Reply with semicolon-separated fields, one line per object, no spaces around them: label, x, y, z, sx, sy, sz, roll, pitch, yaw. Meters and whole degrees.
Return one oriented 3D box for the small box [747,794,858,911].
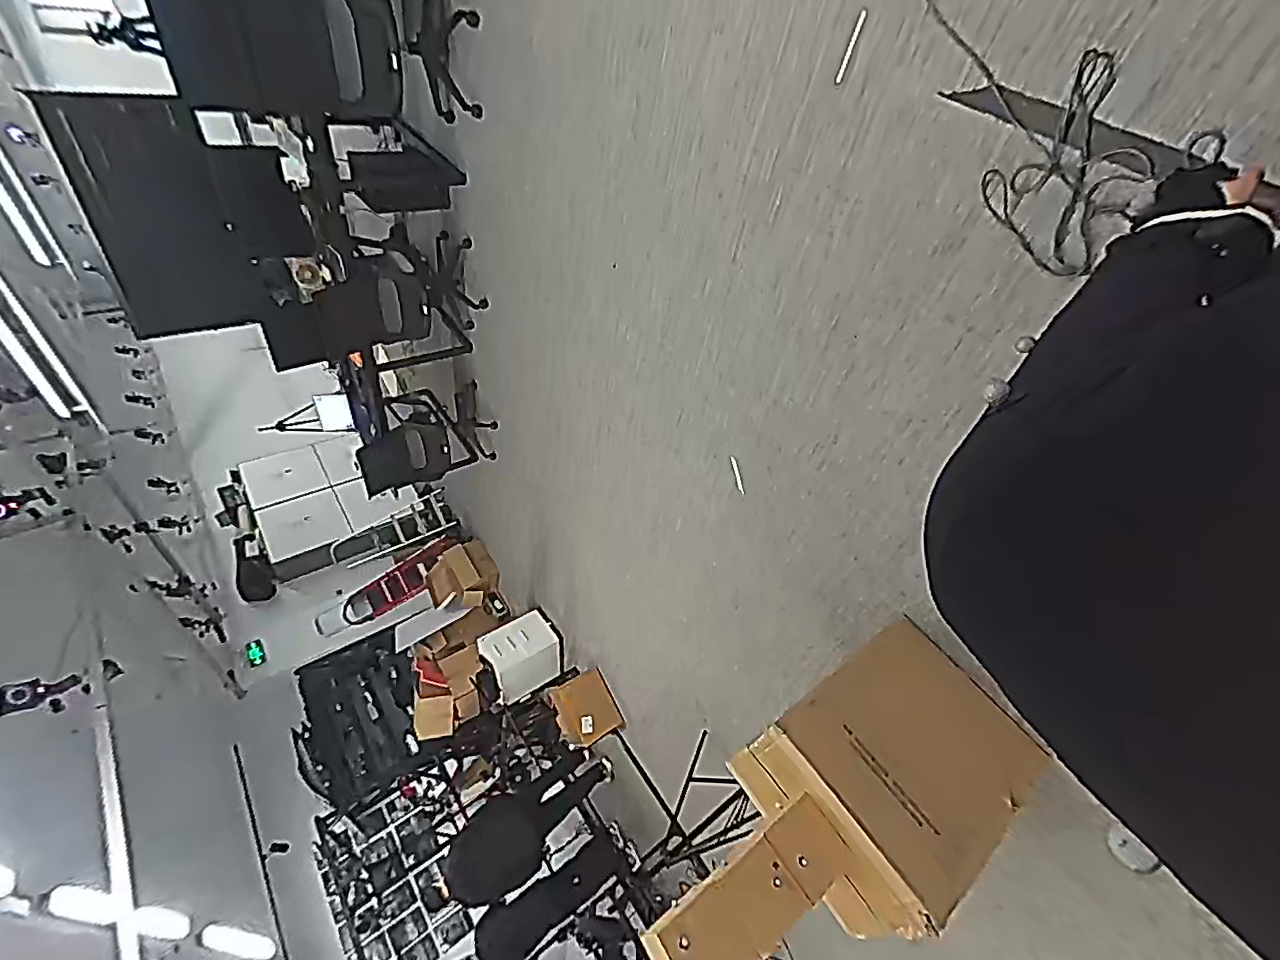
small box;0.409;0.936;1.363;0.179;0.176;0.168;51;145;27

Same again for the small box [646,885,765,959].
small box;0.143;1.039;1.200;0.179;0.176;0.168;50;145;27
